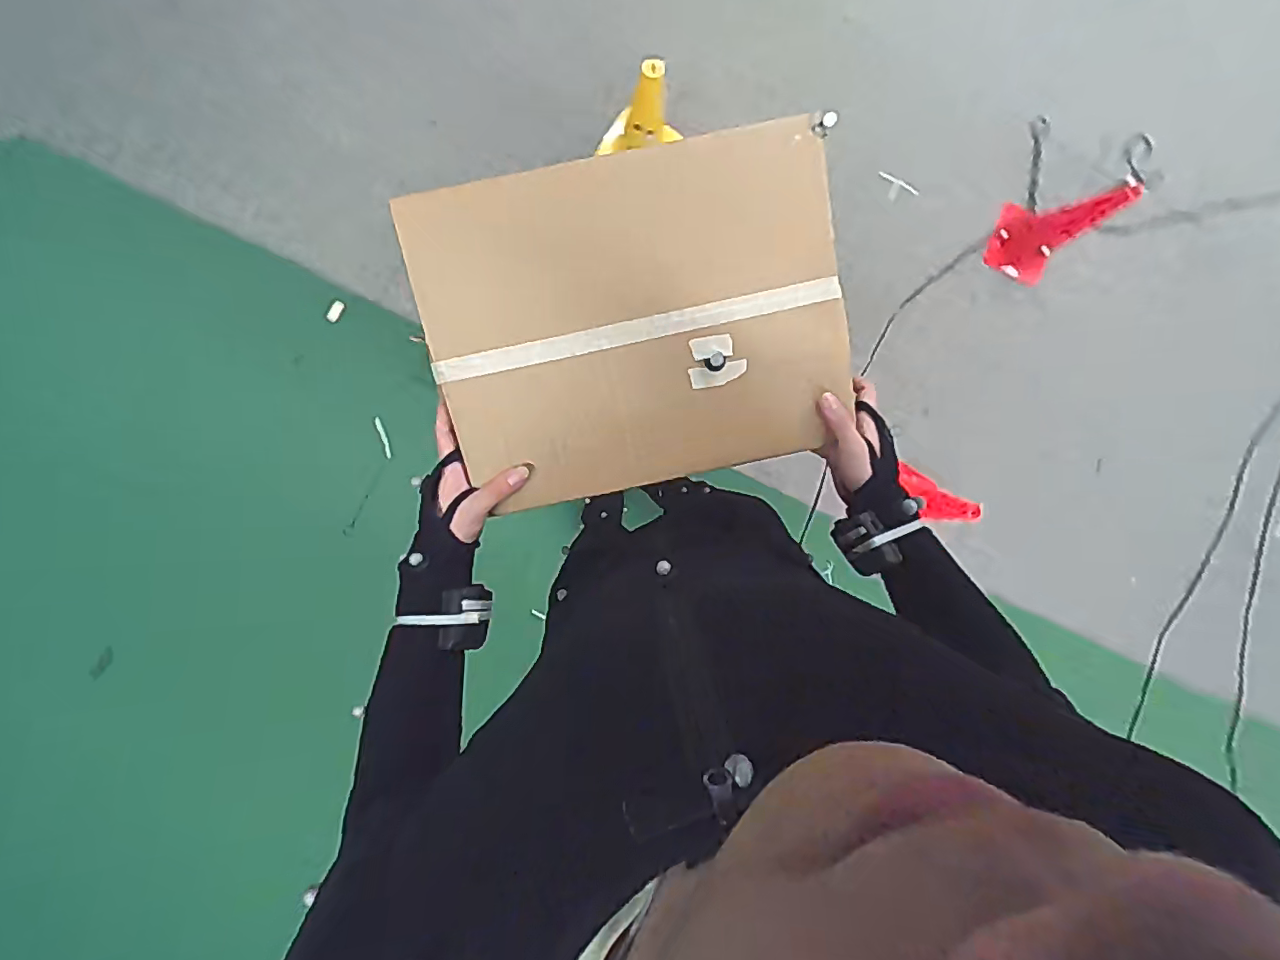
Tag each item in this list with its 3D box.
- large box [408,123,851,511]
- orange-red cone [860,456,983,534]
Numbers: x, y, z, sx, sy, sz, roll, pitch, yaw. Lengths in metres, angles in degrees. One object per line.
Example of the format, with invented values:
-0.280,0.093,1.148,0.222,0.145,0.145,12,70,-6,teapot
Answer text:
-0.007,-0.183,0.684,0.408,0.320,0.320,-12,104,-2,large box
0.826,0.065,1.525,0.199,0.360,0.198,32,92,-8,orange-red cone
